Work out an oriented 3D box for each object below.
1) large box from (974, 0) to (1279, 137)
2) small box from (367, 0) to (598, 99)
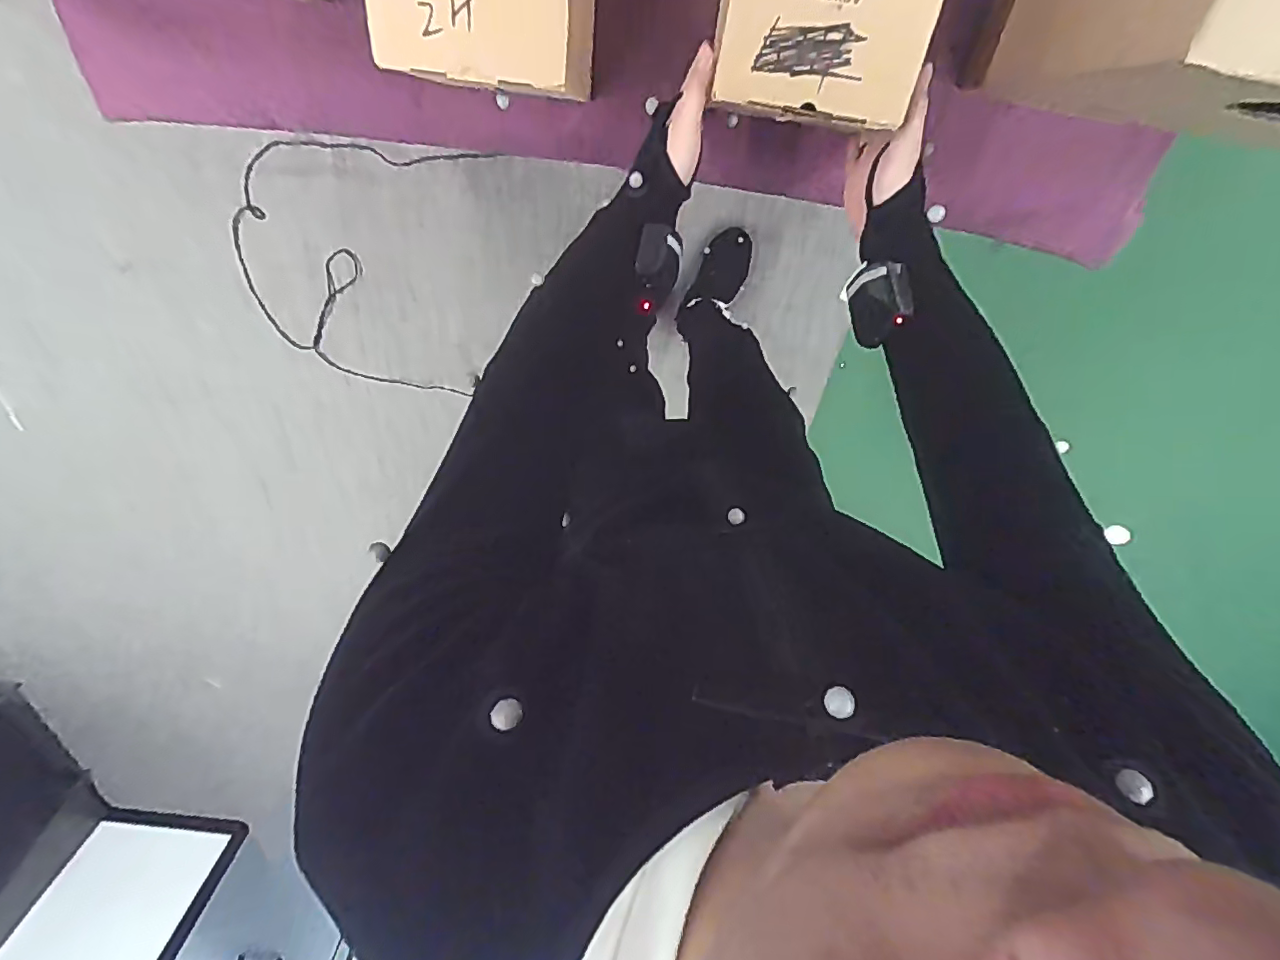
[{"bbox_3d":[0.516,-0.475,0.347,0.320,0.320,0.408,9,124,-2],"label":"large box"},{"bbox_3d":[-0.127,-0.454,0.474,0.168,0.176,0.179,7,123,-1],"label":"small box"}]
